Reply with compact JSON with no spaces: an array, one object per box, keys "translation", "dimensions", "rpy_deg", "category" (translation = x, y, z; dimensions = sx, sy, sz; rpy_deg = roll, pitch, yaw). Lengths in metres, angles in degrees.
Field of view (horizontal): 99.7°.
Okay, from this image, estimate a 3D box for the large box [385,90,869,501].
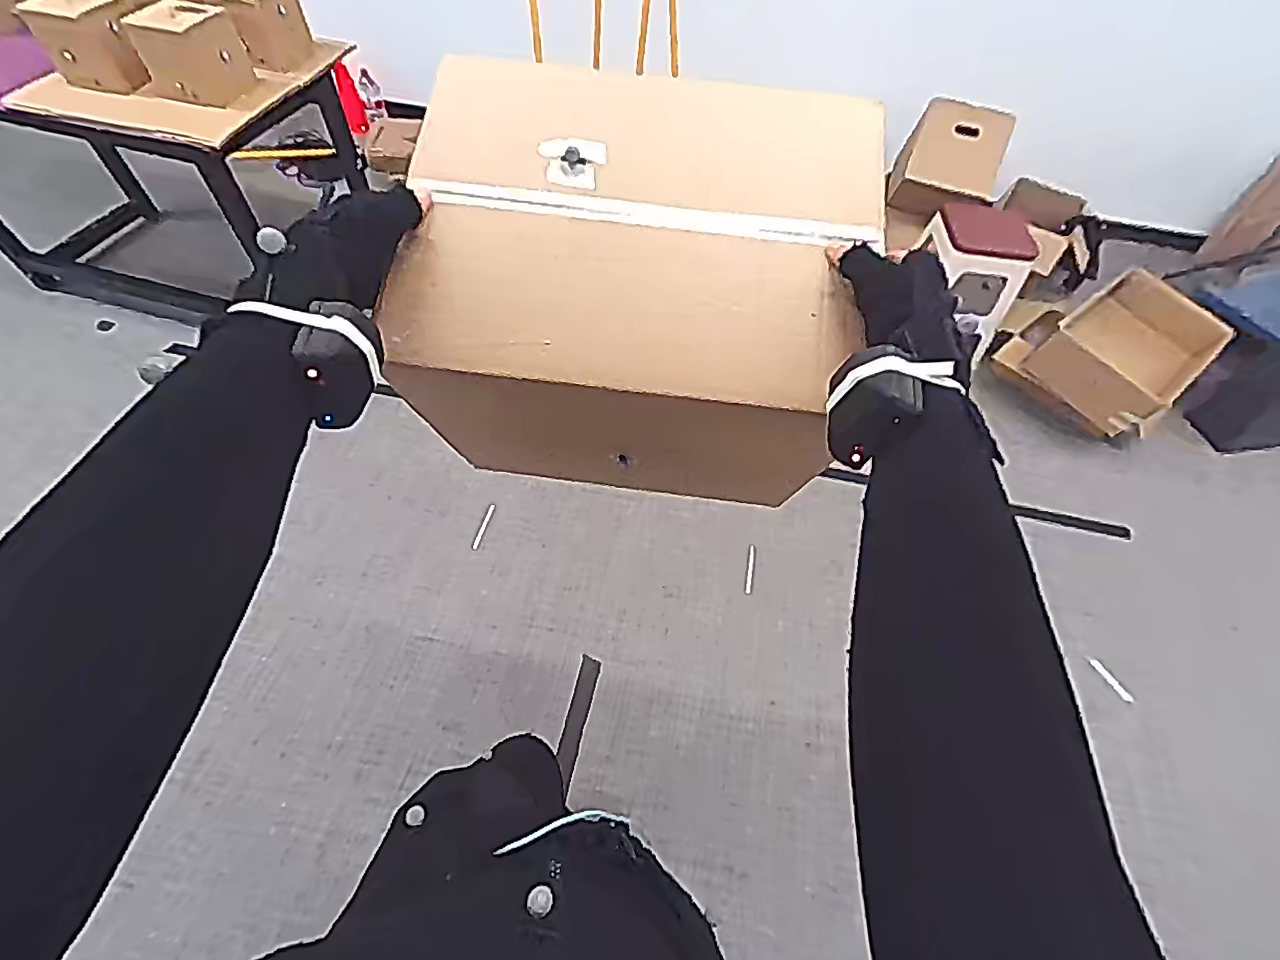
[{"translation":[0.003,-0.171,0.619],"dimensions":[0.408,0.320,0.320],"rpy_deg":[7,74,2],"category":"large box"}]
